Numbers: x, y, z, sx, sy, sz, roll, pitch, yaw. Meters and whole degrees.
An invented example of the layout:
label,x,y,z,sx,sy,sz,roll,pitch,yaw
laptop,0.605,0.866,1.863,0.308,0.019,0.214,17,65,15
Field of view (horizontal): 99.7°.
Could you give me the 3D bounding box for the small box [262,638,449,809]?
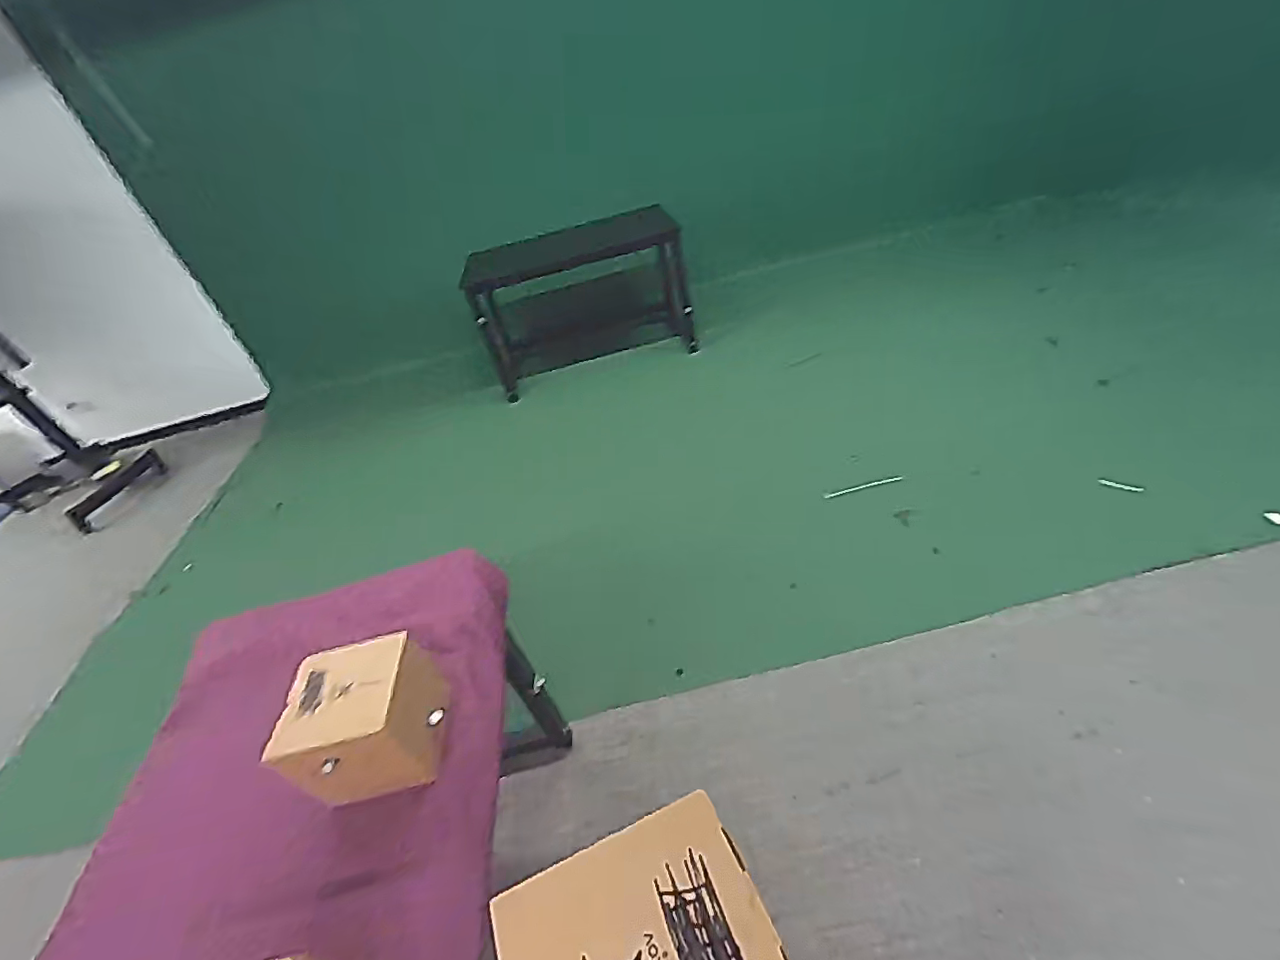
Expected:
label,x,y,z,sx,sy,sz,roll,pitch,yaw
small box,-0.424,0.381,0.841,0.179,0.176,0.168,-15,38,1
